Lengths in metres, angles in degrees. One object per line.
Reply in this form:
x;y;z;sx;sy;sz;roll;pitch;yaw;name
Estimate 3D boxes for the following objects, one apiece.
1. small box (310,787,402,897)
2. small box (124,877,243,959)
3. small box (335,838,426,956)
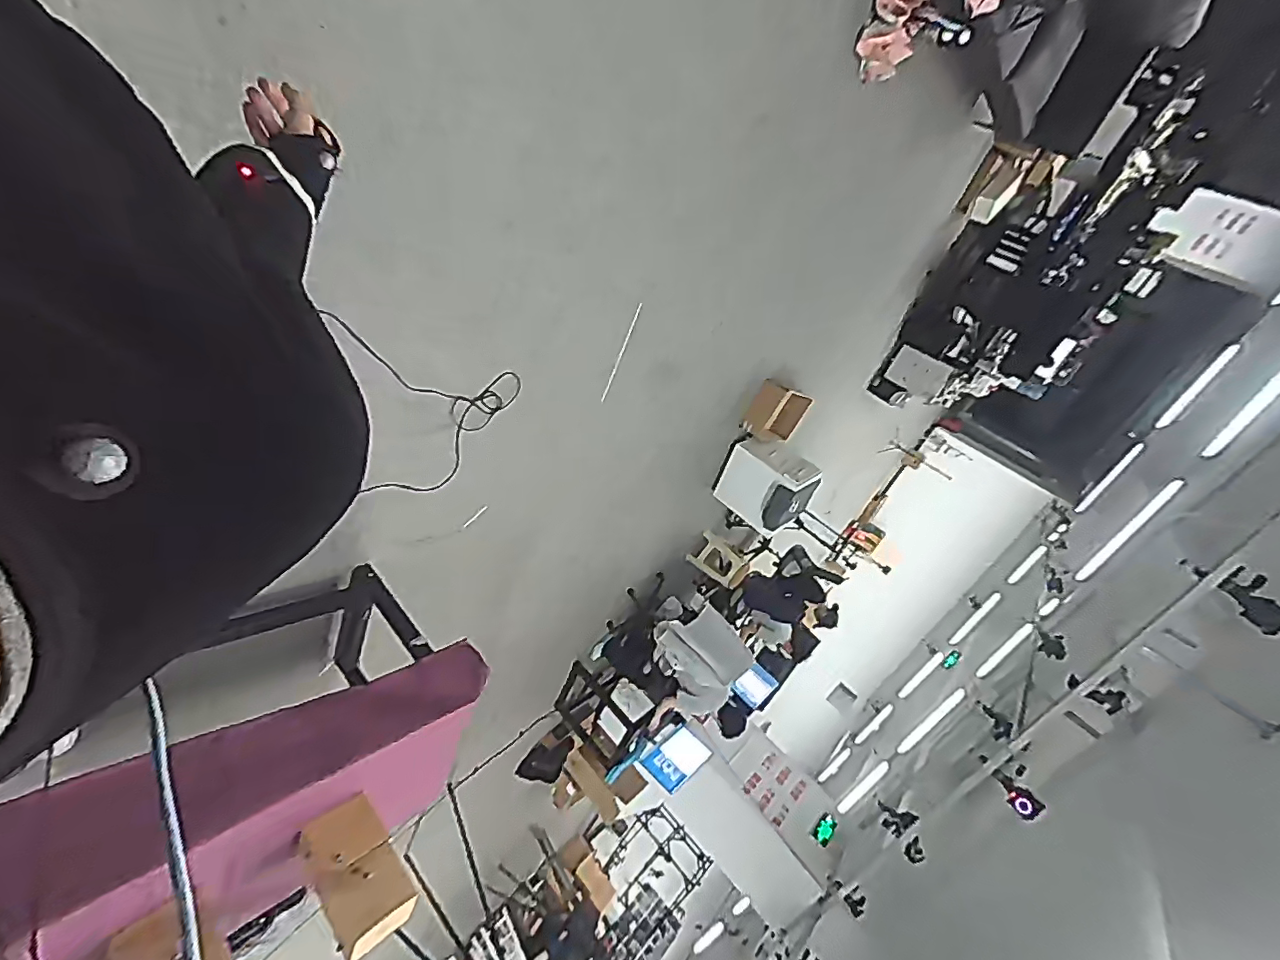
-0.826;1.040;1.570;0.179;0.176;0.168;-13;136;-49;small box
-1.067;1.090;1.265;0.179;0.176;0.168;-11;134;-50;small box
-0.721;1.140;1.492;0.168;0.176;0.179;-14;137;-49;small box
